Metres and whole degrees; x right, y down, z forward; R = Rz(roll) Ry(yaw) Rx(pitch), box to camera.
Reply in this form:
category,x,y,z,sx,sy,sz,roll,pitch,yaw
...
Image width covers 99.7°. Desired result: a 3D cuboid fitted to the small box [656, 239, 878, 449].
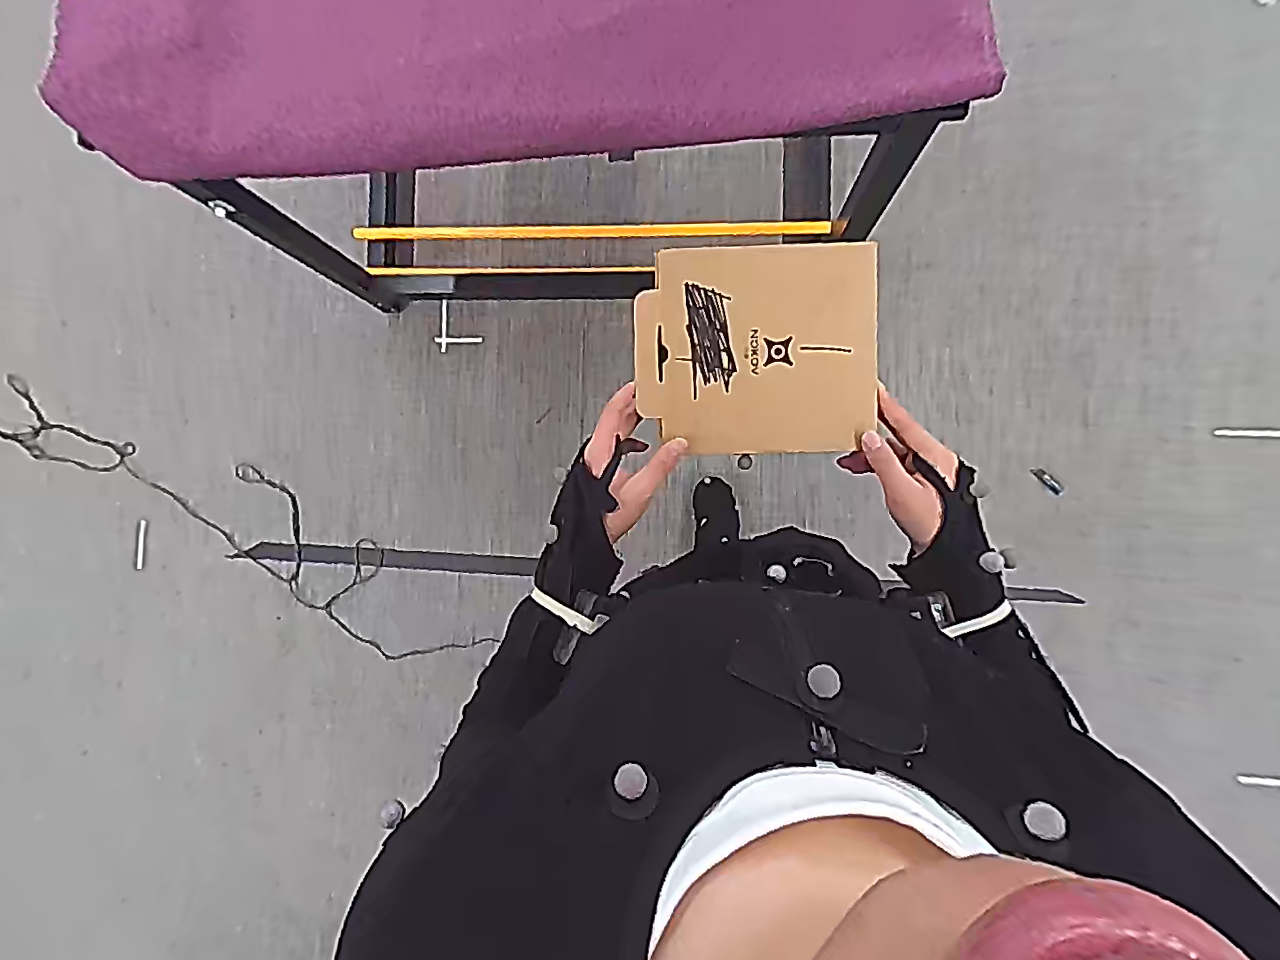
category,x,y,z,sx,sy,sz,roll,pitch,yaw
small box,0.105,-0.112,0.512,0.179,0.176,0.168,-1,94,1
